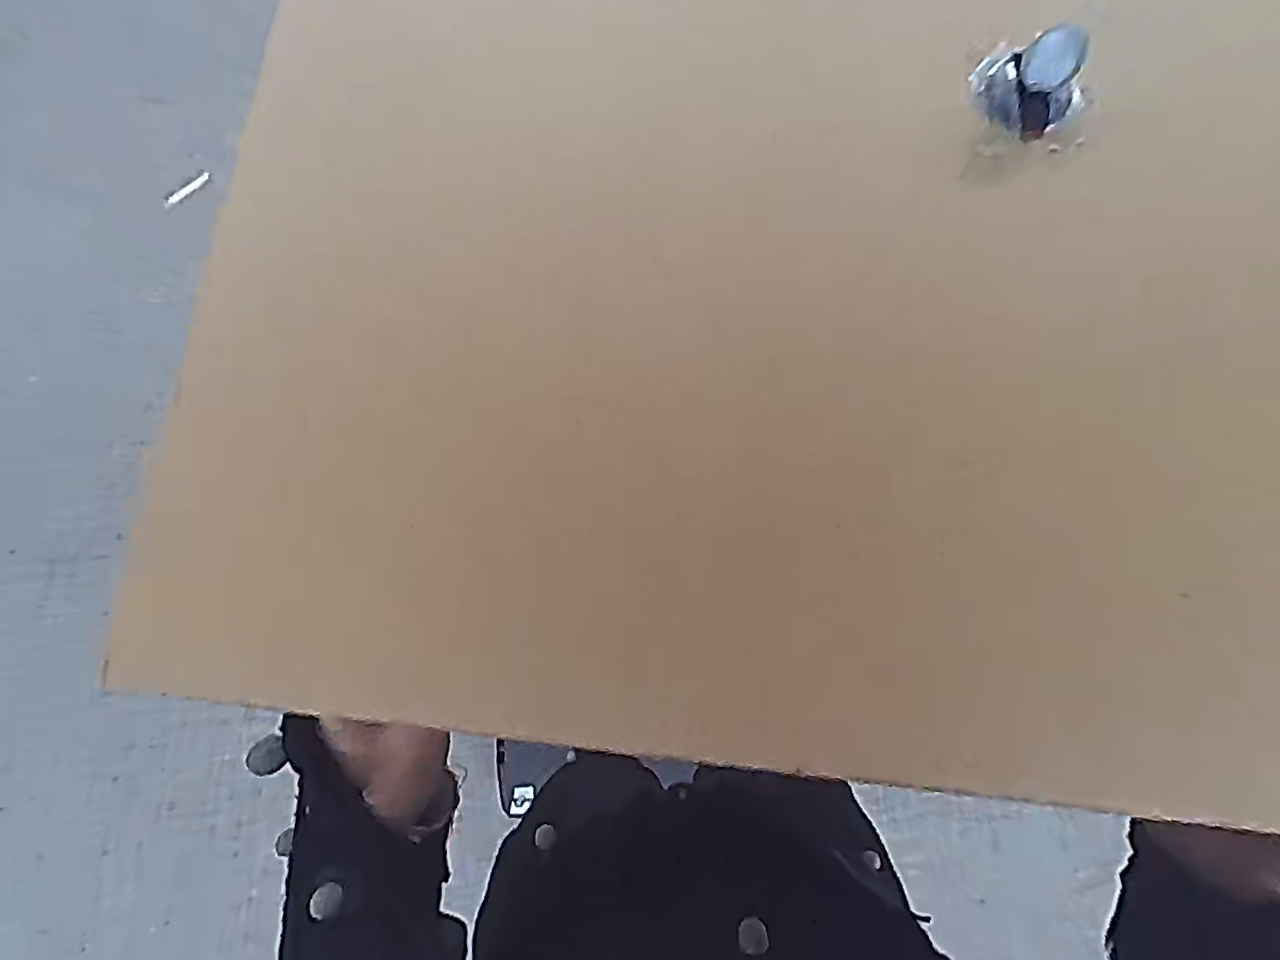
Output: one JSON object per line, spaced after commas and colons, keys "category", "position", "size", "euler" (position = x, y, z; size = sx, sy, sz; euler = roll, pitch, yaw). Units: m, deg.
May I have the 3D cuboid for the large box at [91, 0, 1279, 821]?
{"category": "large box", "position": [0.085, -0.060, 0.281], "size": [0.408, 0.320, 0.320], "euler": [4, 81, 3]}
